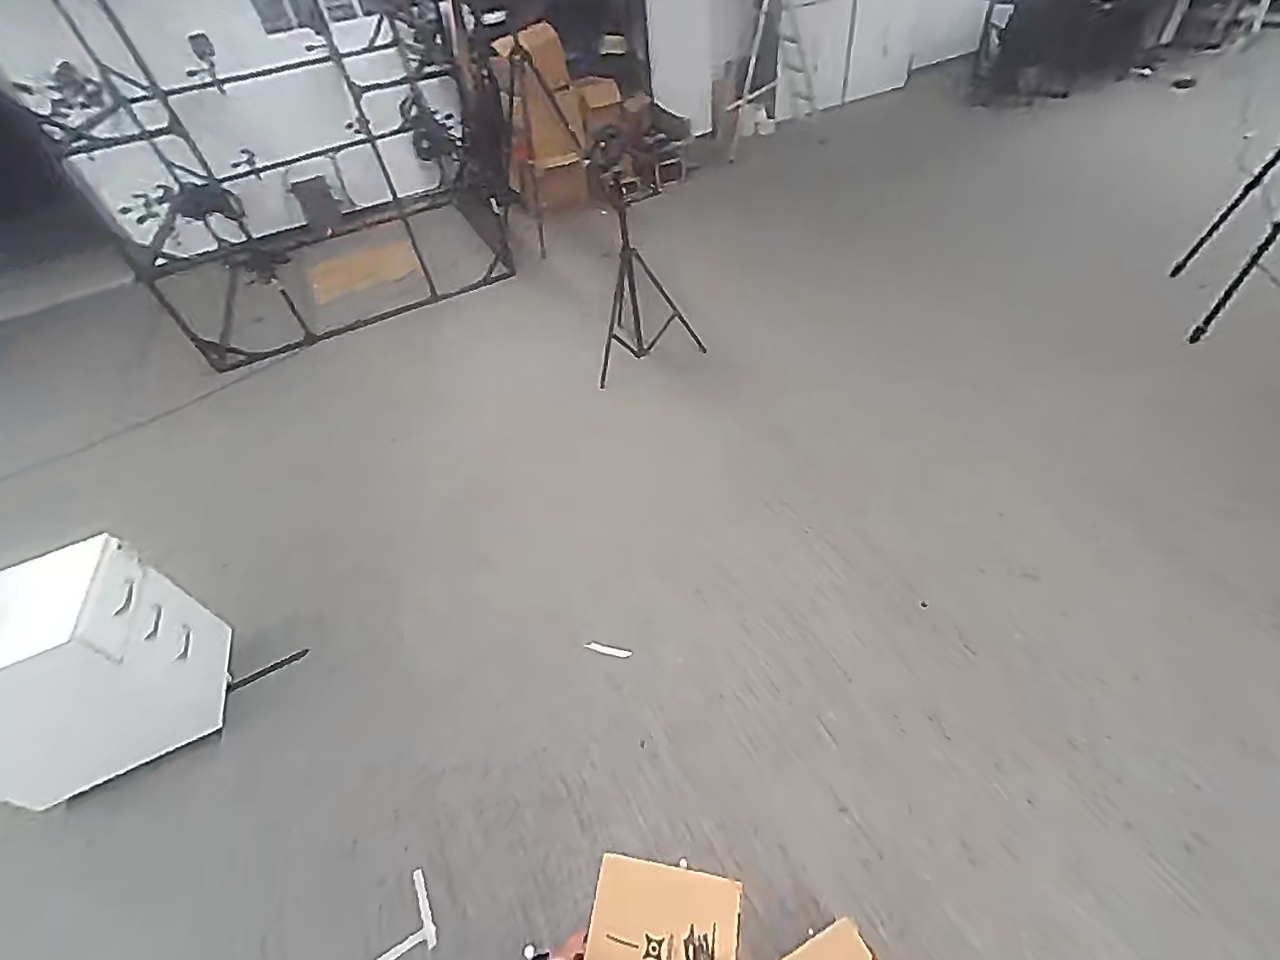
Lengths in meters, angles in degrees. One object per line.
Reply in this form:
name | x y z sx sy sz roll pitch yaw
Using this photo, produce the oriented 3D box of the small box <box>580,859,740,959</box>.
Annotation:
small box | 0.027 0.592 0.668 0.179 0.176 0.168 4 50 11
